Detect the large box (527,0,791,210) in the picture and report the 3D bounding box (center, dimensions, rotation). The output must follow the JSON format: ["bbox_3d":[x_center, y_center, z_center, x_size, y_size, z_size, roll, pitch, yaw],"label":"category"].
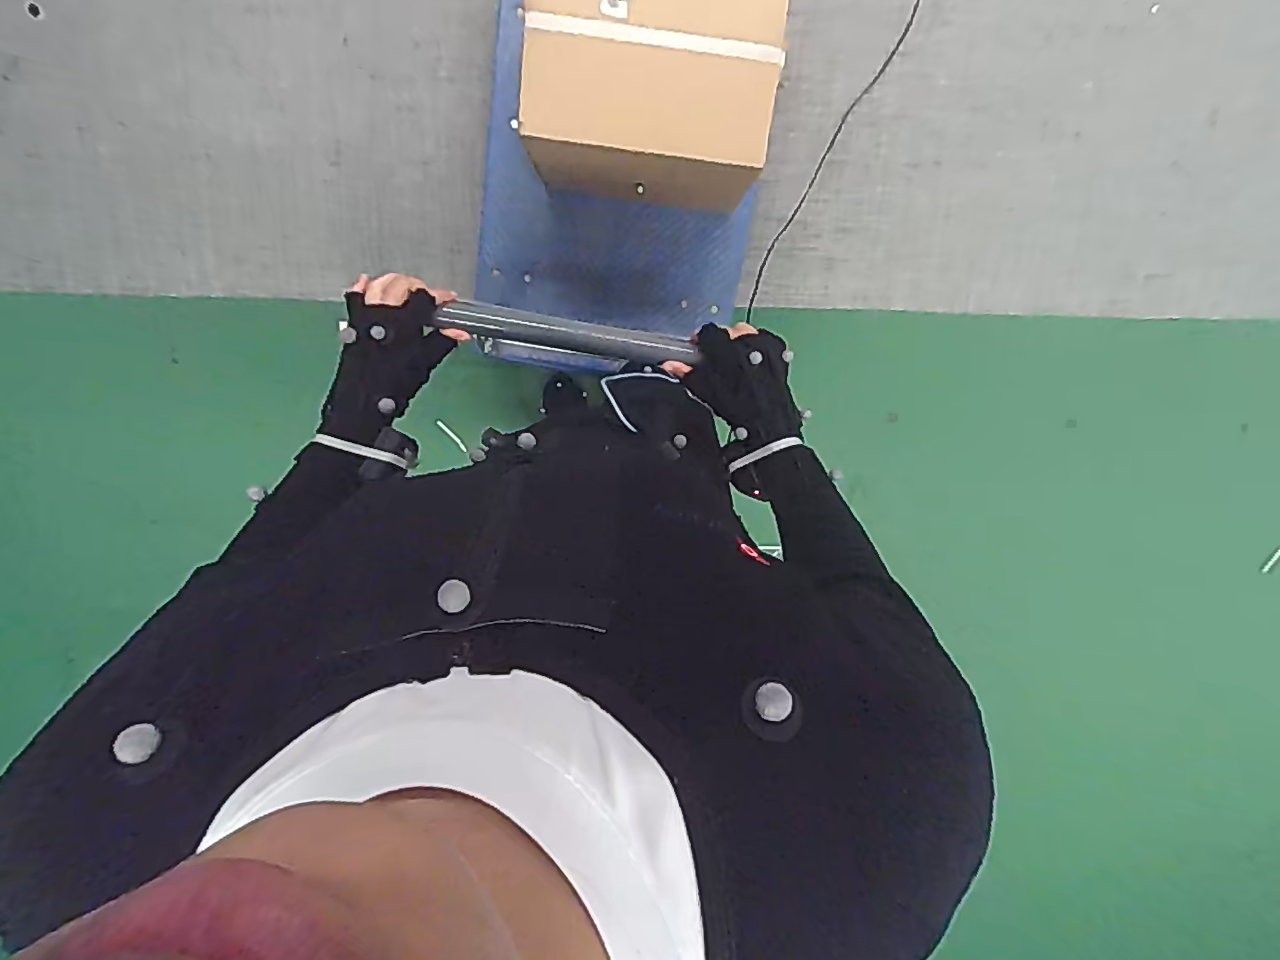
[{"bbox_3d":[0.029,-0.712,0.992,0.408,0.320,0.320,6,102,-2],"label":"large box"}]
